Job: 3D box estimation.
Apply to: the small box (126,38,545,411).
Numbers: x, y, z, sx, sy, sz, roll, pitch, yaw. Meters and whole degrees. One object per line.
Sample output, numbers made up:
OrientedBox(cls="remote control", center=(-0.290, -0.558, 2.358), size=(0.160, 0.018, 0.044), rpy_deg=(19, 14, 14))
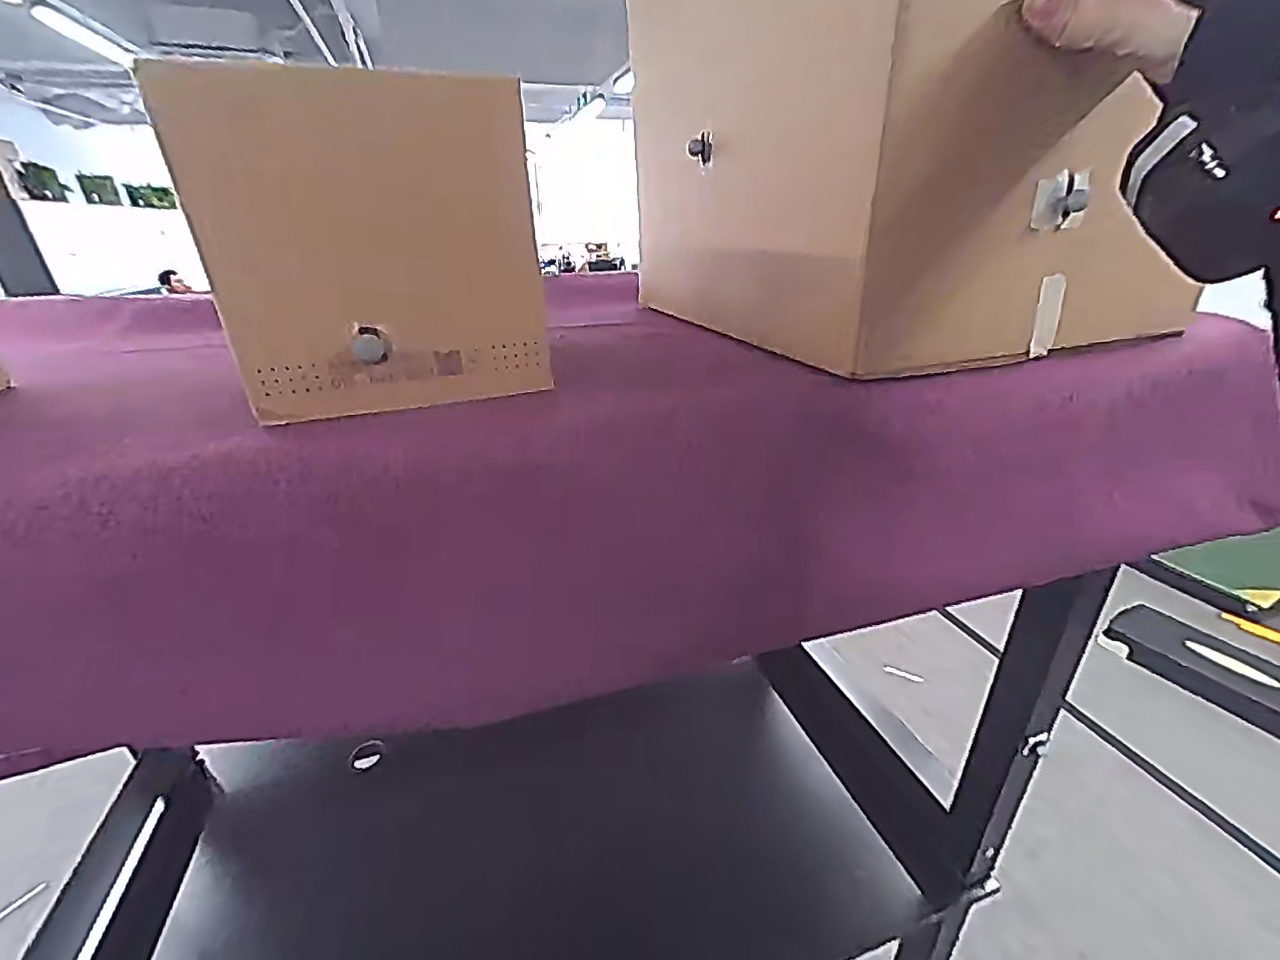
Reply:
OrientedBox(cls="small box", center=(-0.166, -0.153, 0.353), size=(0.168, 0.176, 0.179), rpy_deg=(-12, 28, -18))

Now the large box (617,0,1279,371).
OrientedBox(cls="large box", center=(0.194, -0.297, 0.465), size=(0.320, 0.320, 0.408), rpy_deg=(-10, 25, -17))
